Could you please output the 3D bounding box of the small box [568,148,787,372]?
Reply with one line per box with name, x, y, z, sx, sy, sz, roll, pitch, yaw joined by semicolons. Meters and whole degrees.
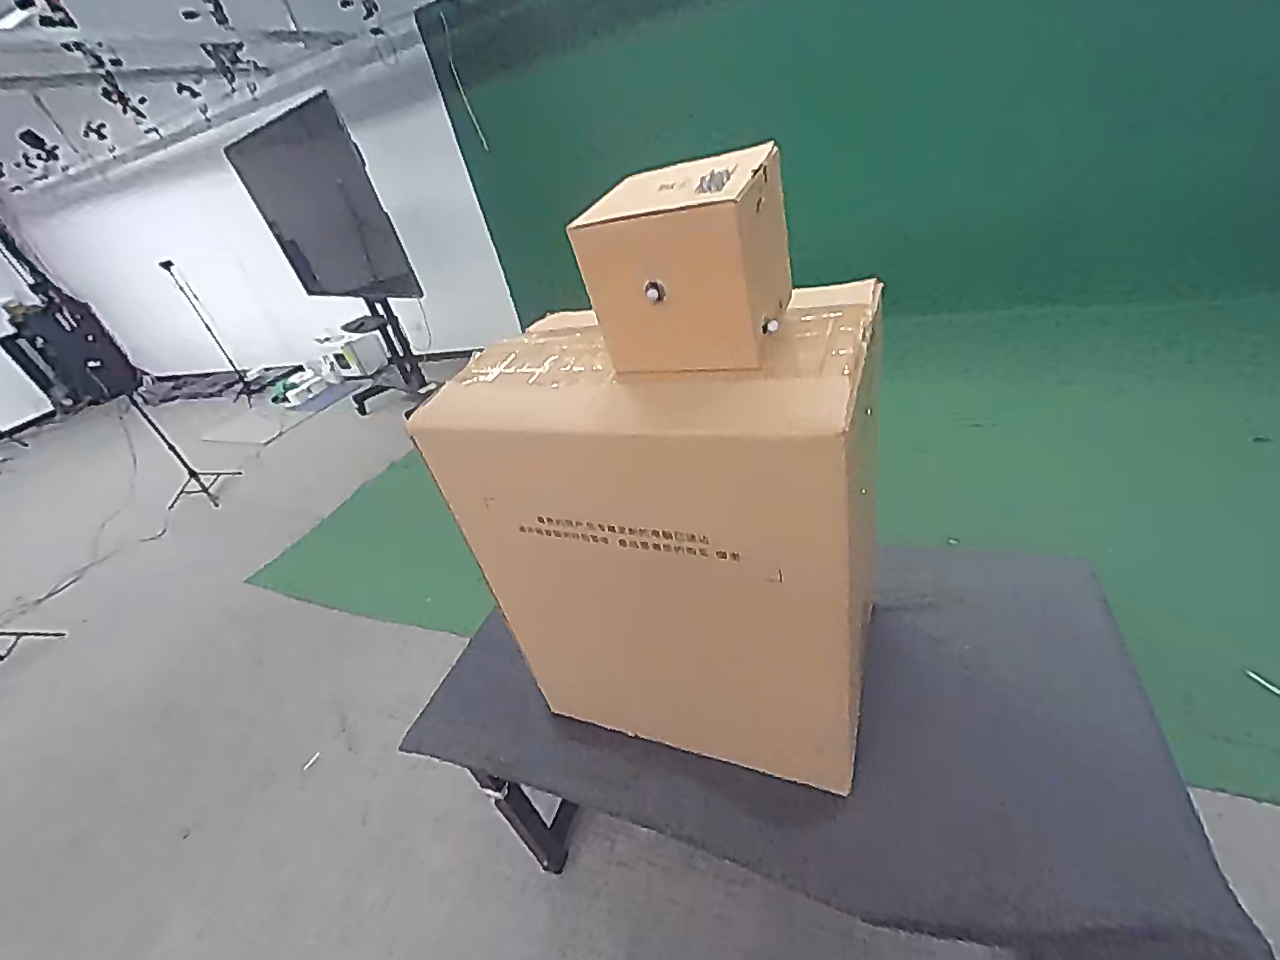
small box;0.056;-0.232;0.593;0.179;0.176;0.168;4;44;28
